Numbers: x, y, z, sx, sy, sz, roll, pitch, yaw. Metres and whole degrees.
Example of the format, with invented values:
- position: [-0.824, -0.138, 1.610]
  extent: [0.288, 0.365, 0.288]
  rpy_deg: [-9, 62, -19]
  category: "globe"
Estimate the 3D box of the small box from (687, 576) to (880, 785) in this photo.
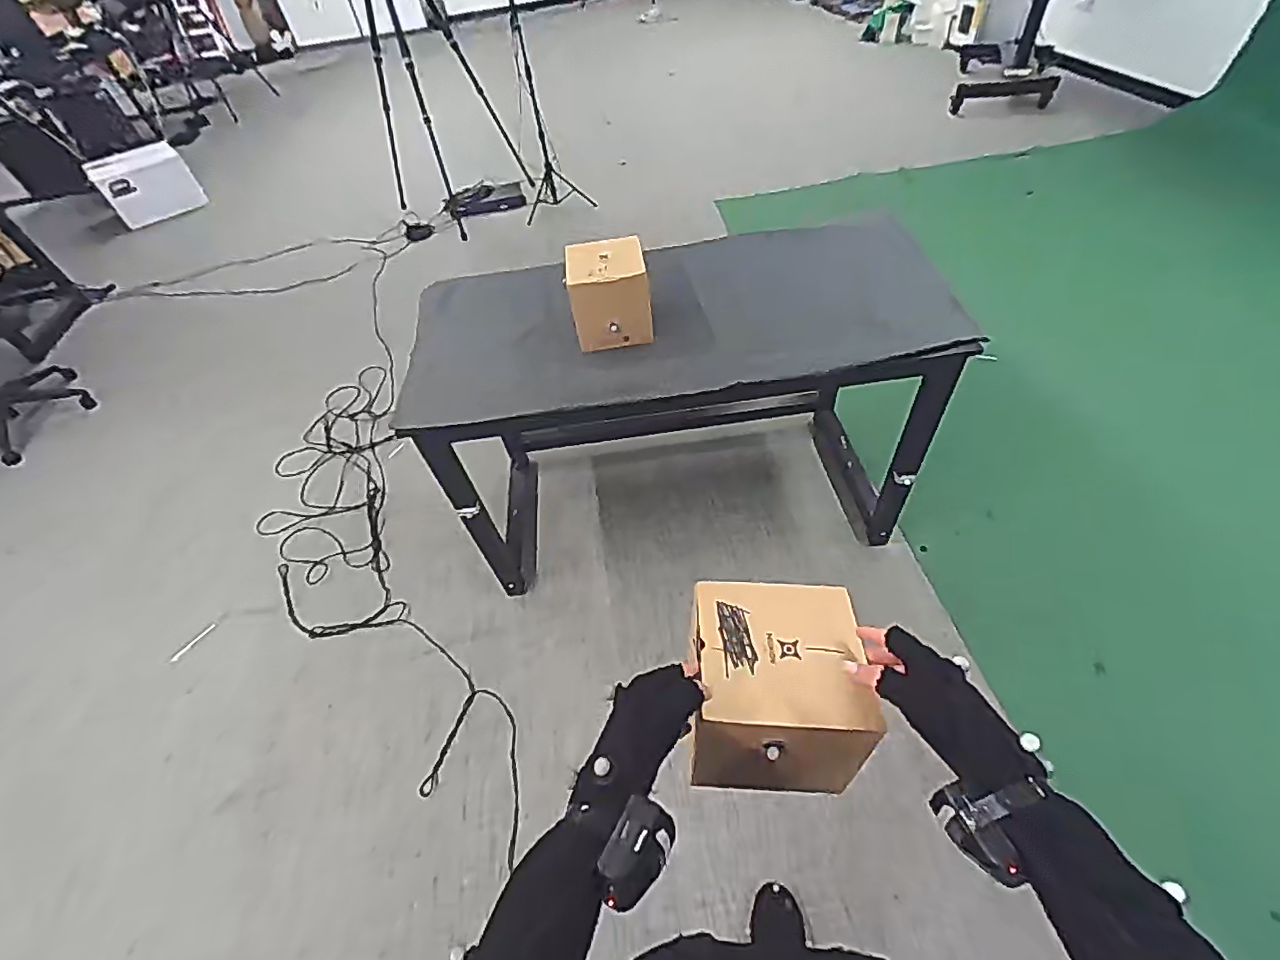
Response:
- position: [0.144, 0.230, 0.619]
  extent: [0.179, 0.176, 0.168]
  rpy_deg: [3, 42, 2]
  category: "small box"

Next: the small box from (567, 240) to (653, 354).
- position: [-0.067, -0.409, 1.213]
  extent: [0.168, 0.176, 0.179]
  rpy_deg: [-9, 49, 1]
  category: "small box"
